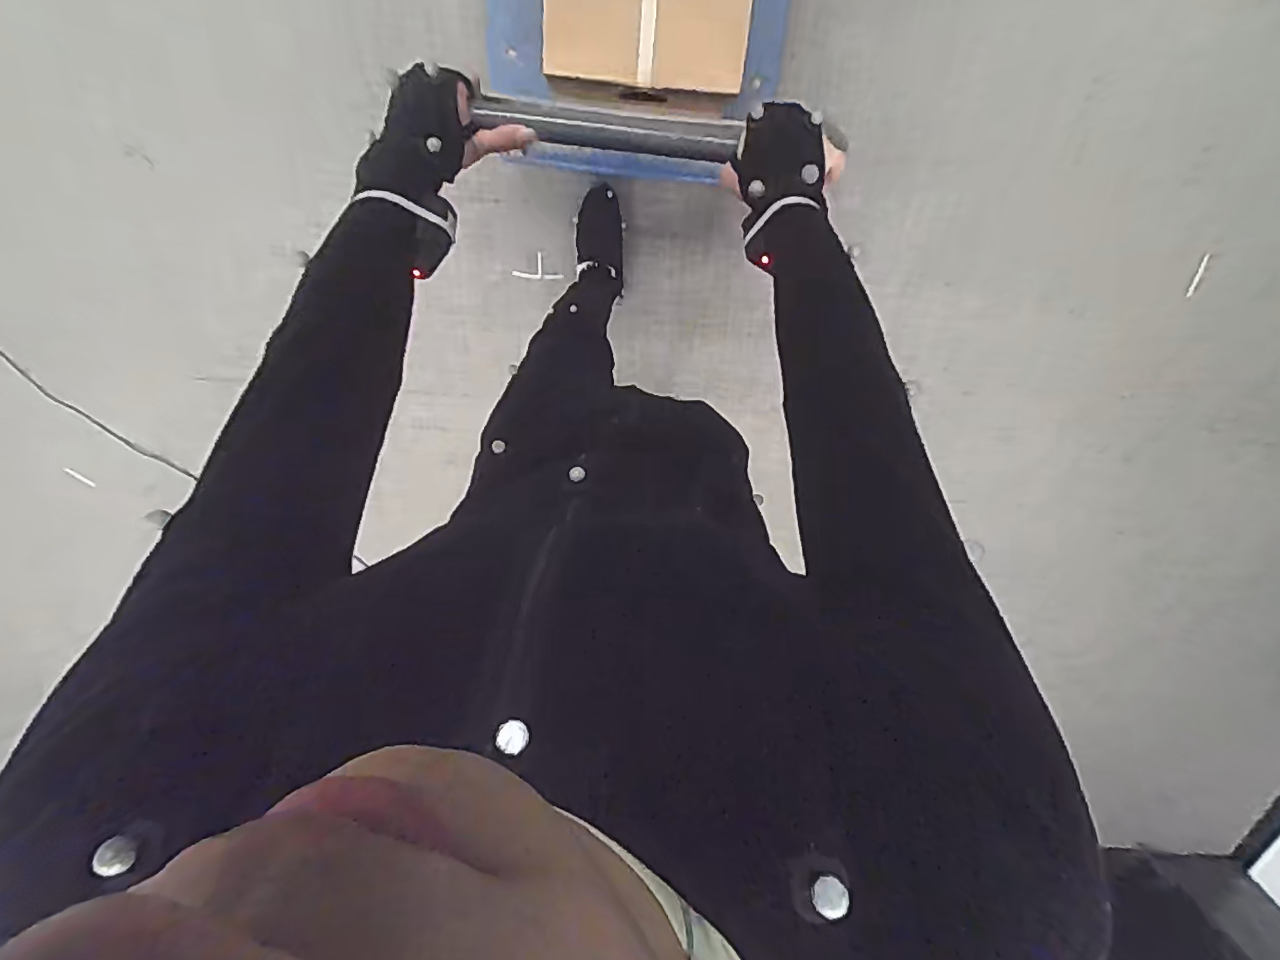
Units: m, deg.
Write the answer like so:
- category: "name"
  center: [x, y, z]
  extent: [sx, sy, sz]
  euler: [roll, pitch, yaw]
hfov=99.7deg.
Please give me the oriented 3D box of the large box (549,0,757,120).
- category: "large box"
  center: [0.029, -0.870, 0.900]
  extent: [0.320, 0.320, 0.408]
  euler: [4, 115, -3]
